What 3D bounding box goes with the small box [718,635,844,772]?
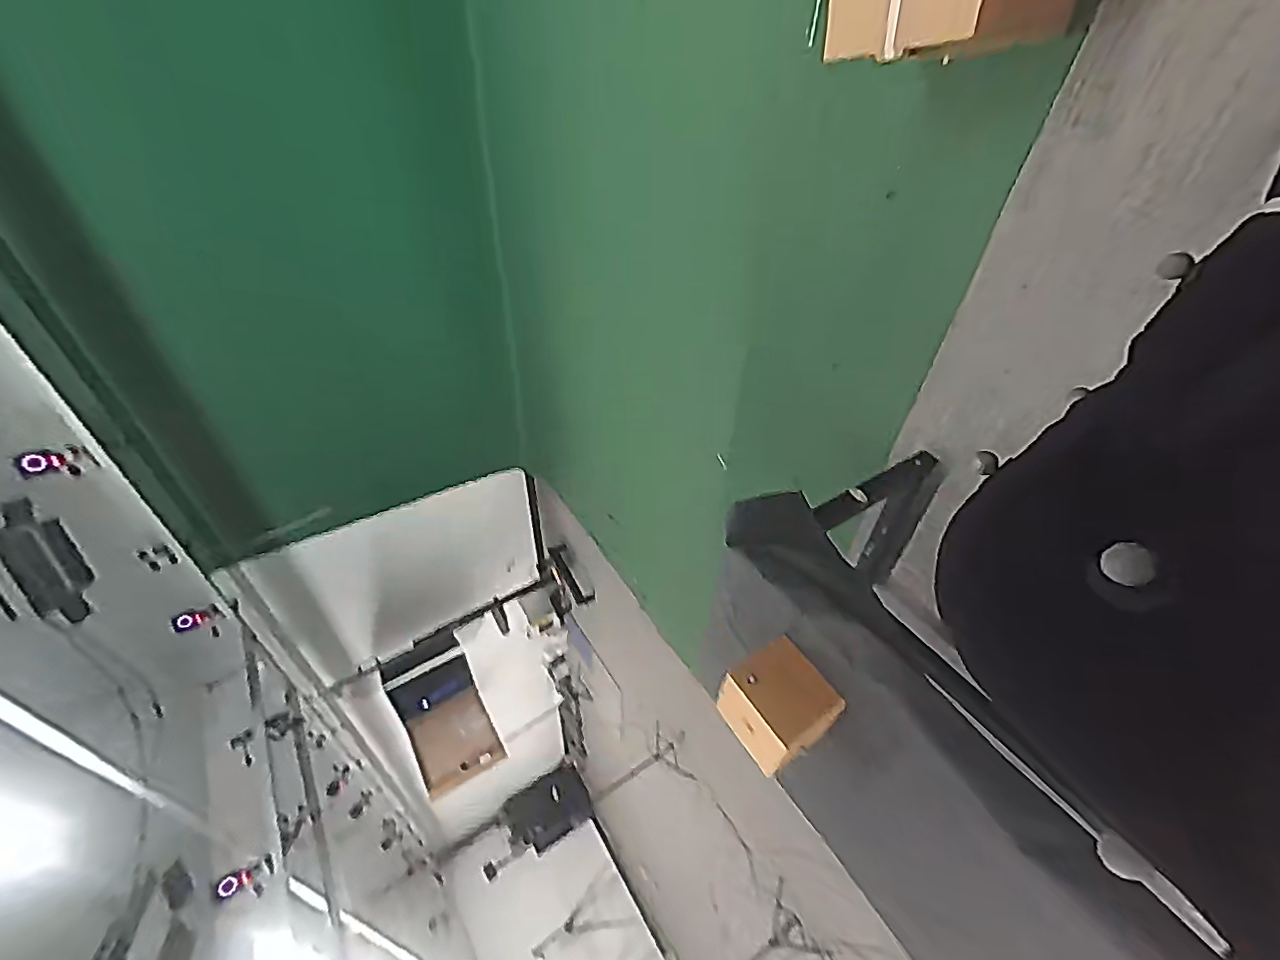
[{"bbox_3d":[0.292,0.464,1.135,0.179,0.176,0.168,48,149,35],"label":"small box"}]
